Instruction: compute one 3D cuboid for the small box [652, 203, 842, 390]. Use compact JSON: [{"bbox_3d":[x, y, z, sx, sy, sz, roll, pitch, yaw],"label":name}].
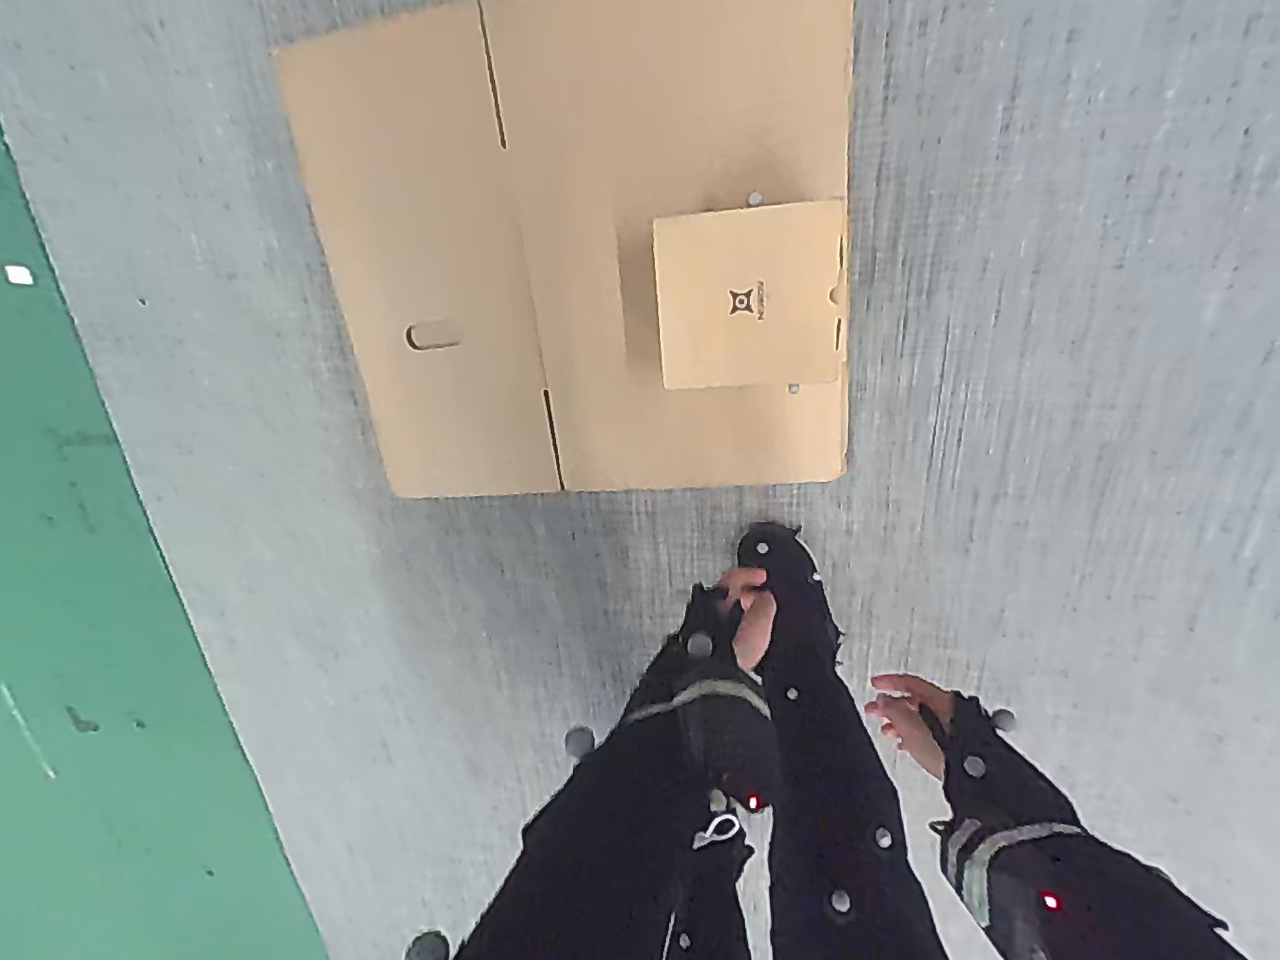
[{"bbox_3d":[0.117,-0.195,0.597,0.179,0.176,0.168,-1,109,12],"label":"small box"}]
